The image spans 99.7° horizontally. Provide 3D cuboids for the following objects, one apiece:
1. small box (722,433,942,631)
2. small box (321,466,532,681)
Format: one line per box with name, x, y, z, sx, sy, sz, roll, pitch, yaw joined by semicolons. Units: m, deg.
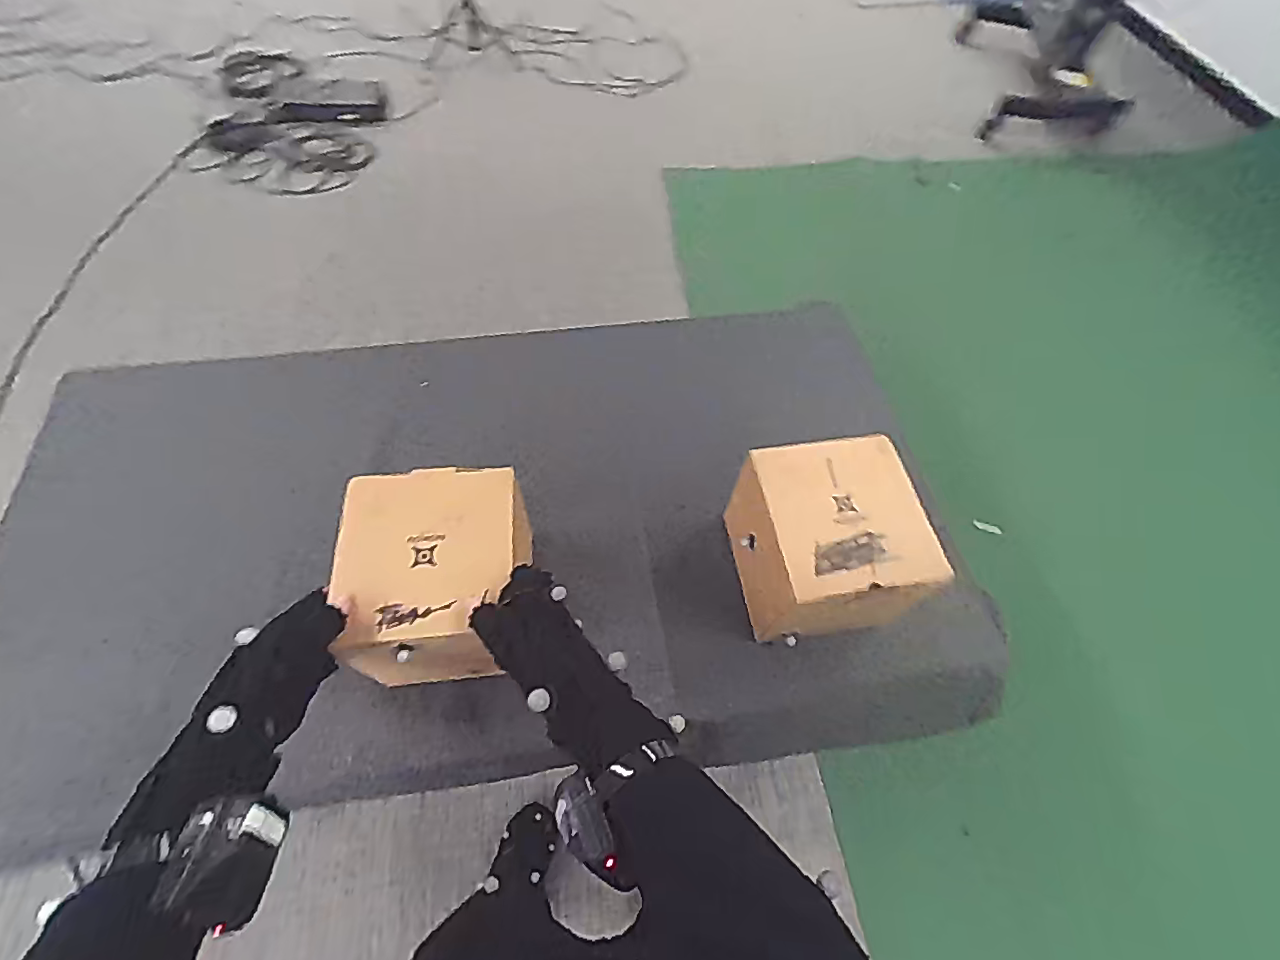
small box;0.205;0.069;0.635;0.168;0.176;0.179;-6;60;-7
small box;-0.209;0.104;0.584;0.168;0.176;0.179;-3;60;-7
